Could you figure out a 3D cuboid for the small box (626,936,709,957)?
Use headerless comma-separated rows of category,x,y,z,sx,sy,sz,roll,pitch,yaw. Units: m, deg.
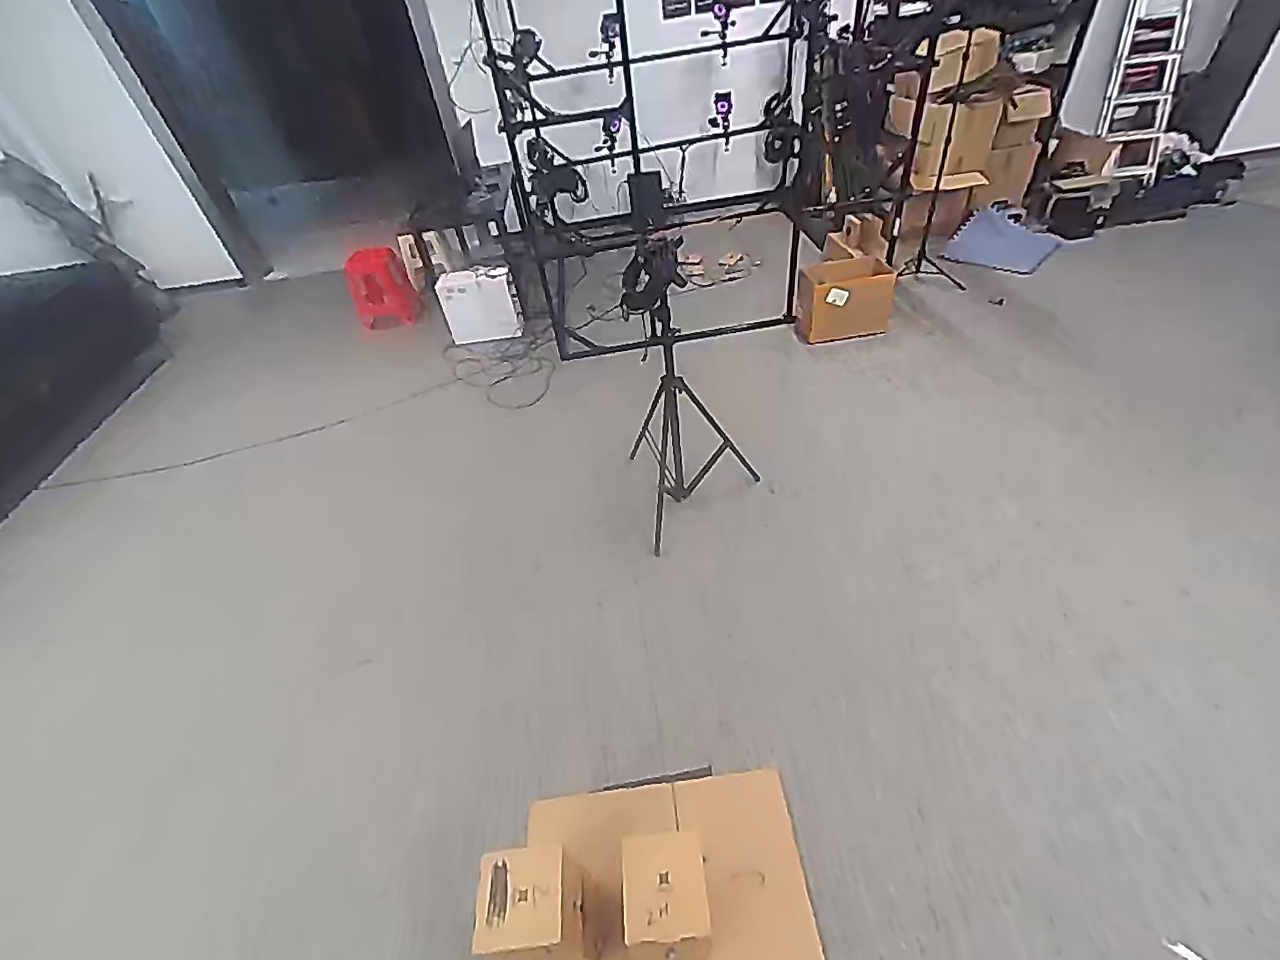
small box,0.060,0.975,1.242,0.179,0.176,0.168,-7,43,2

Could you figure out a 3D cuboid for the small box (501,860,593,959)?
small box,-0.204,1.004,1.251,0.179,0.176,0.168,-9,42,1

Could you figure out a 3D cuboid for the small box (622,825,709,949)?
small box,0.052,0.852,1.132,0.168,0.176,0.179,-7,43,2
